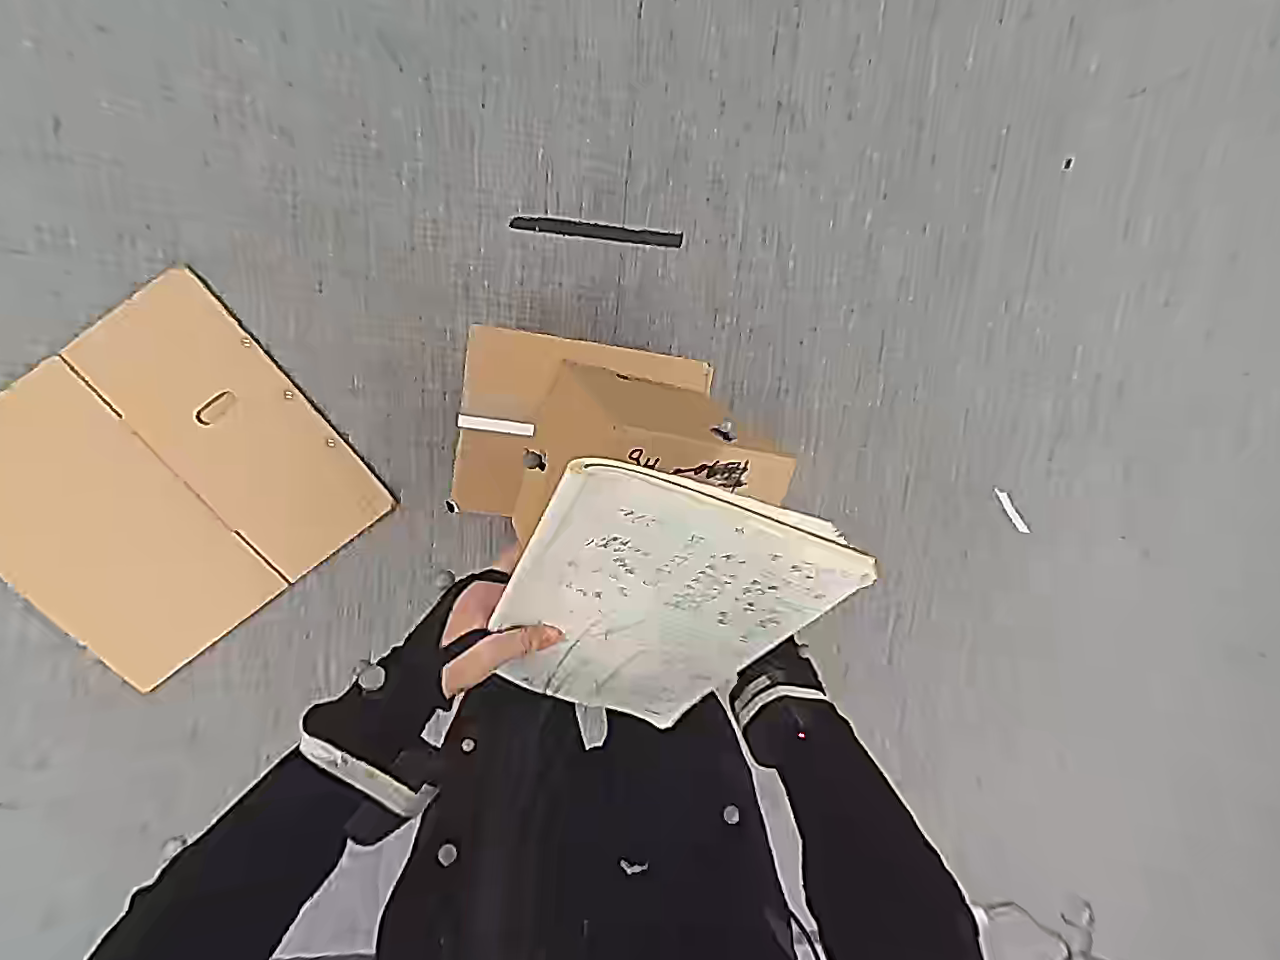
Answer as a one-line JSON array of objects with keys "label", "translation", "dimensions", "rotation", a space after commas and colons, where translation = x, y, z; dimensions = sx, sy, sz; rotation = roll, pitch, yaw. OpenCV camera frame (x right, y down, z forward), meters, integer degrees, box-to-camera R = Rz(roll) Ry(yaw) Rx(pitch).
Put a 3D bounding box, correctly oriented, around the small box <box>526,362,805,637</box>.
[{"label": "small box", "translation": [0.004, 0.015, 0.480], "dimensions": [0.168, 0.176, 0.179], "rotation": [6, 115, -27]}]
